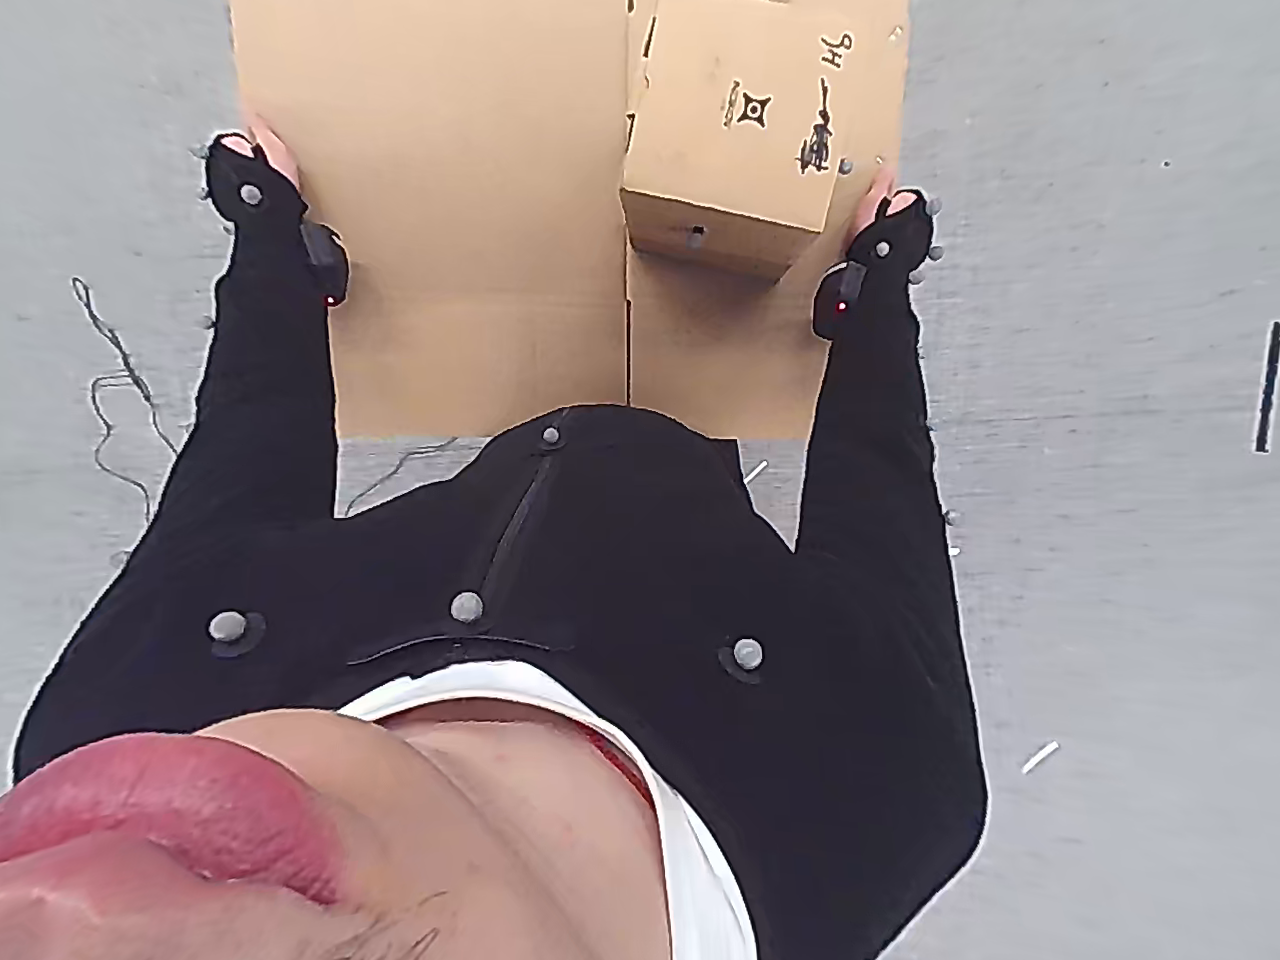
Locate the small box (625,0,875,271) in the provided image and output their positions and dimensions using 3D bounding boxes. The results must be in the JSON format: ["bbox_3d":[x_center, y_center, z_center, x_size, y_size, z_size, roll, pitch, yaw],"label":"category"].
[{"bbox_3d":[0.093,-0.318,0.525,0.179,0.176,0.168,13,98,2],"label":"small box"}]
